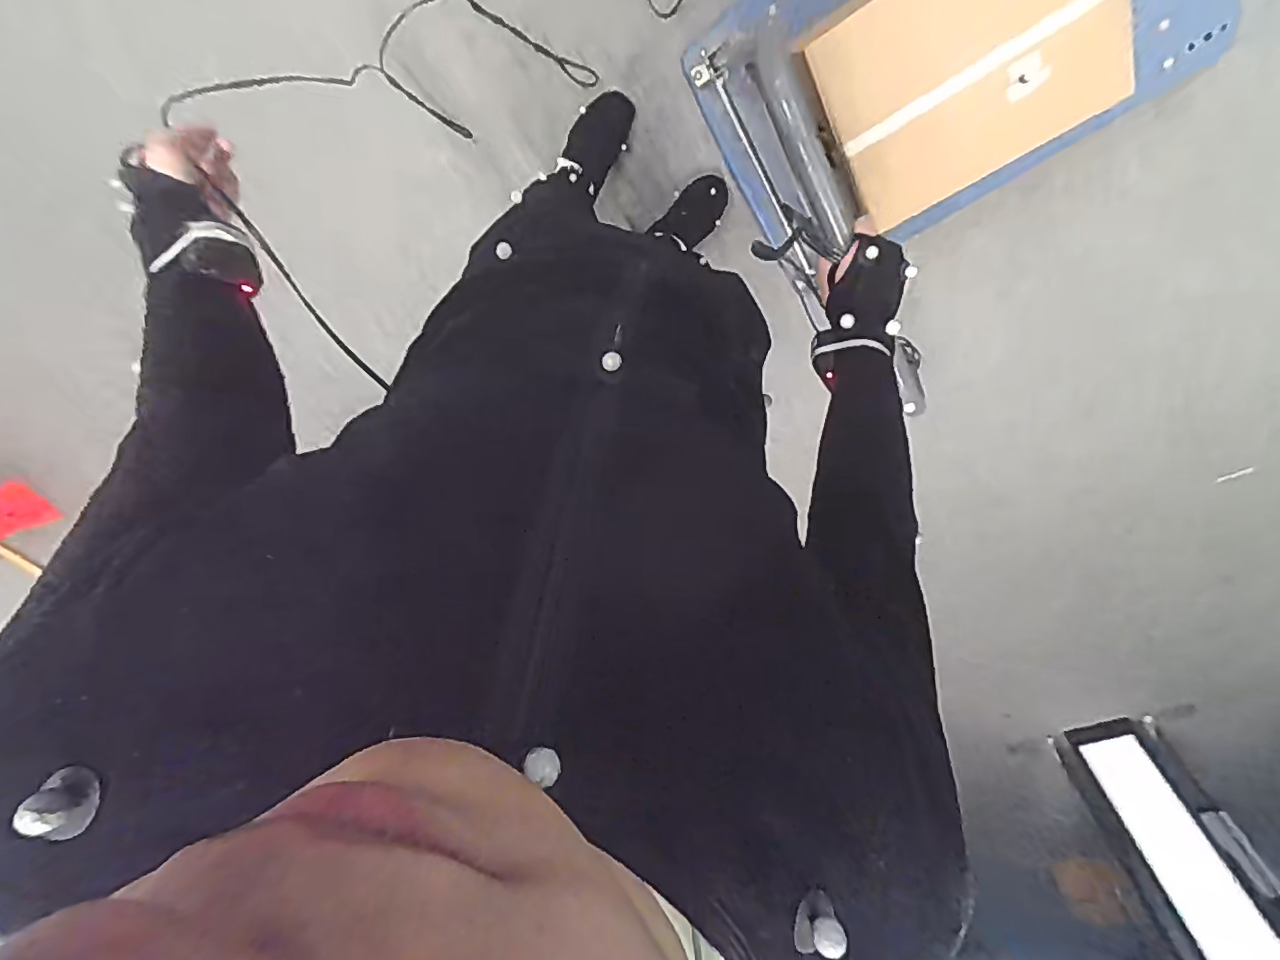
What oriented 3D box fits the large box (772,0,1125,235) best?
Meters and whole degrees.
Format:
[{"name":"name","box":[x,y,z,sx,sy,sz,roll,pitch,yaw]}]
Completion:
[{"name":"large box","box":[0.492,-0.701,0.932,0.408,0.320,0.320,-25,122,20]}]
